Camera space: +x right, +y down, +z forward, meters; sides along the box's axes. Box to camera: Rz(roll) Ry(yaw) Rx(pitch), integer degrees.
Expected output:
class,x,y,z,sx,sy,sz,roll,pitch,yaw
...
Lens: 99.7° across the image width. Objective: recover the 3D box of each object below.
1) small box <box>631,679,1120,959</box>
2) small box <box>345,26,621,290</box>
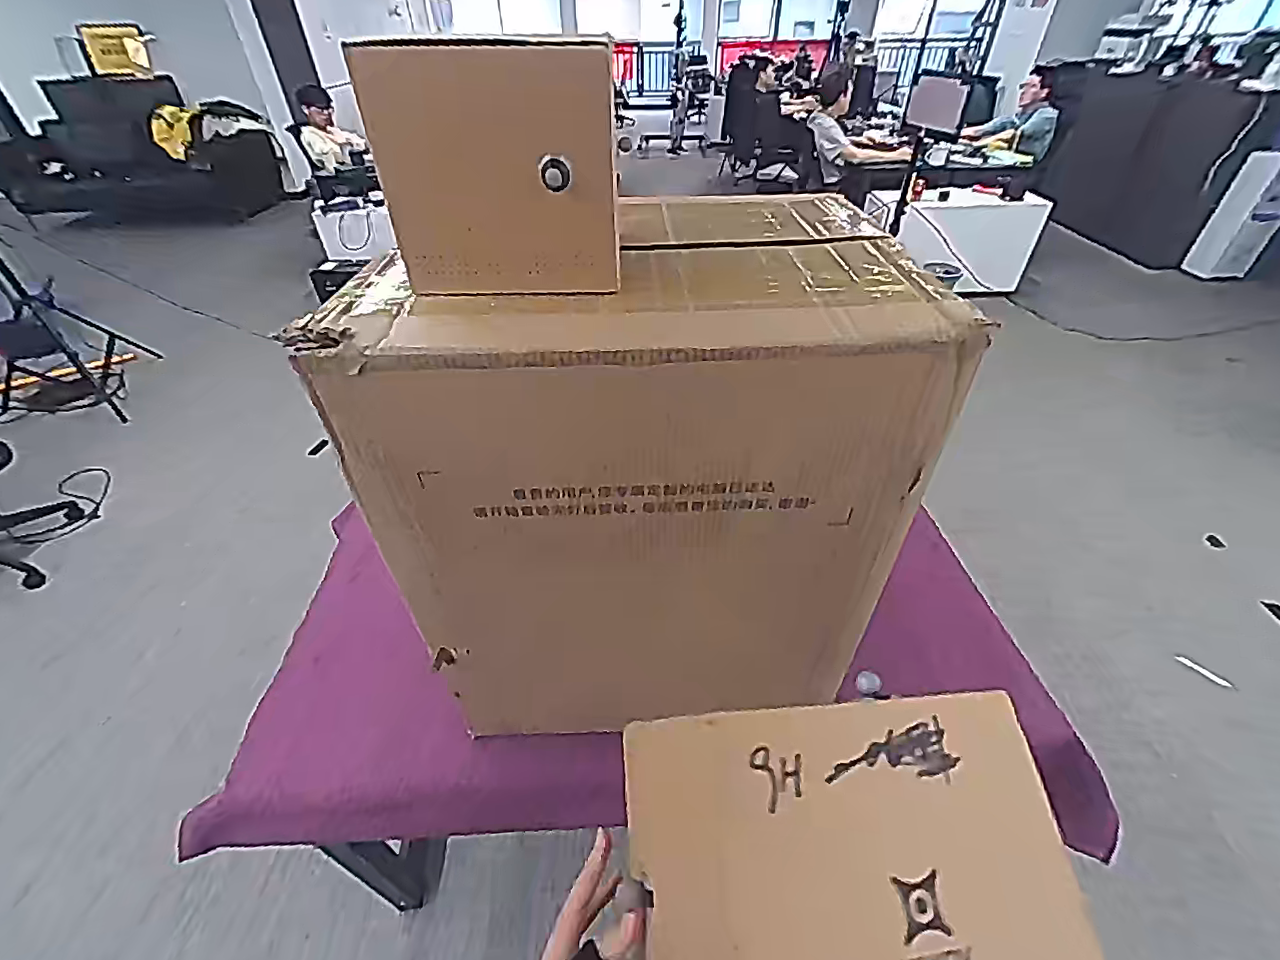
class,x,y,z,sx,sy,sz,roll,pitch,yaw
small box,0.098,0.207,0.284,0.168,0.176,0.179,2,65,-16
small box,-0.105,-0.272,0.459,0.179,0.176,0.168,-2,40,-1
